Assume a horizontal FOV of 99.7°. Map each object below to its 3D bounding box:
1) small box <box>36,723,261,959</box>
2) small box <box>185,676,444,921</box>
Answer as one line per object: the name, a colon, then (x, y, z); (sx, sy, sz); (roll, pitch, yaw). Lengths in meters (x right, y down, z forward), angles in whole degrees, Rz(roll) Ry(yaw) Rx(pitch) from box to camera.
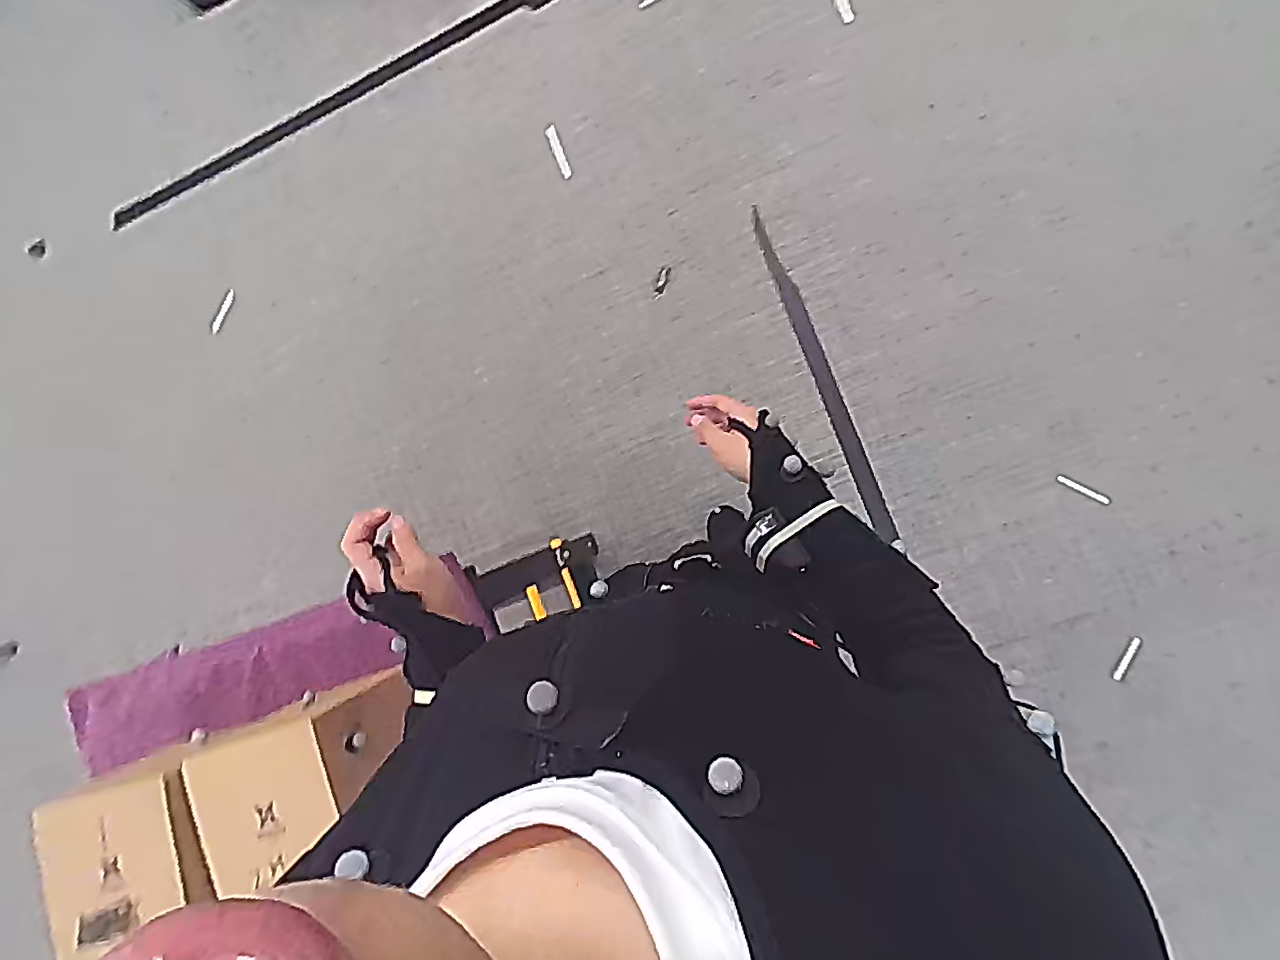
small box: (-0.545, 0.422, 0.651); (0.168, 0.176, 0.179); (-16, 85, 5)
small box: (-0.361, 0.347, 0.628); (0.168, 0.176, 0.179); (-20, 87, 9)
